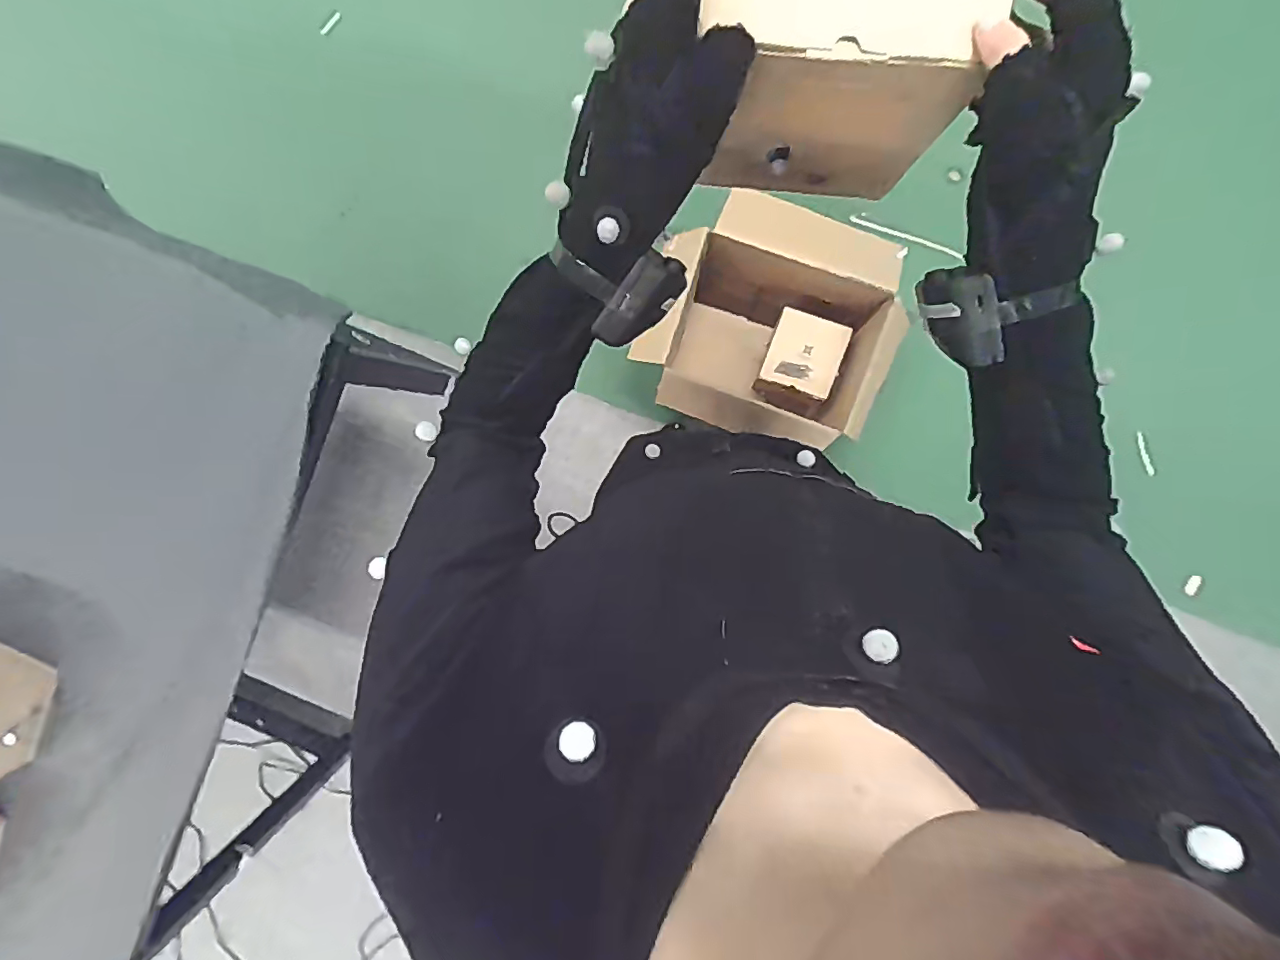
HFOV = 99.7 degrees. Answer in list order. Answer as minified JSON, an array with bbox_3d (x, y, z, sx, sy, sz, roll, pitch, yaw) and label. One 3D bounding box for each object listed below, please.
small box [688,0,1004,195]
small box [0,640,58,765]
[{"bbox_3d":[0.124,-0.324,0.366,0.168,0.176,0.179,6,98,3],"label":"small box"},{"bbox_3d":[-1.003,0.332,0.757,0.179,0.176,0.168,24,97,1],"label":"small box"}]
